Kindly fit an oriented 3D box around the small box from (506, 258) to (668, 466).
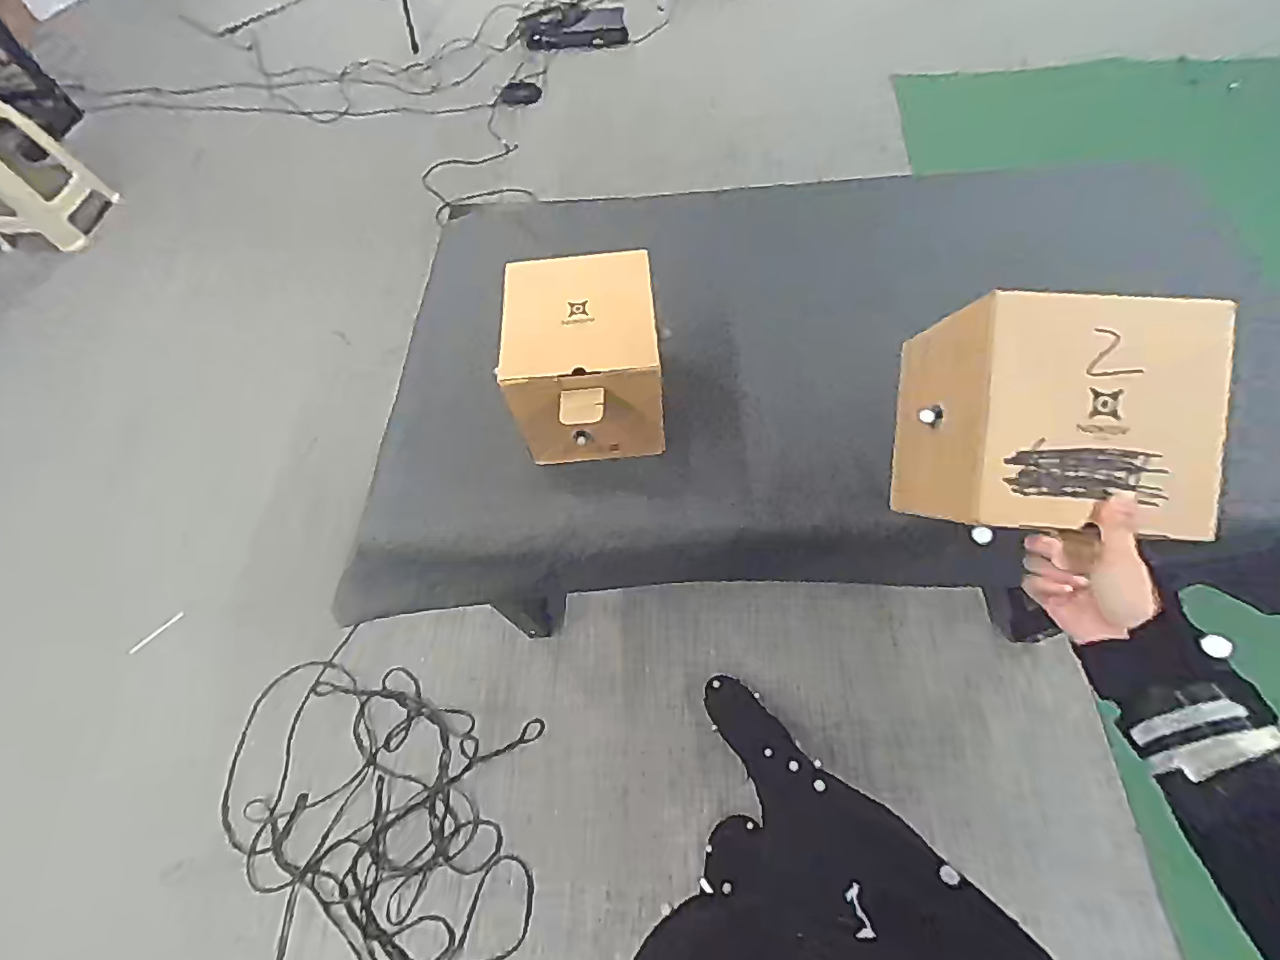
[{"bbox_3d":[-0.055,-0.136,0.653,0.168,0.176,0.179,-5,61,1],"label":"small box"}]
